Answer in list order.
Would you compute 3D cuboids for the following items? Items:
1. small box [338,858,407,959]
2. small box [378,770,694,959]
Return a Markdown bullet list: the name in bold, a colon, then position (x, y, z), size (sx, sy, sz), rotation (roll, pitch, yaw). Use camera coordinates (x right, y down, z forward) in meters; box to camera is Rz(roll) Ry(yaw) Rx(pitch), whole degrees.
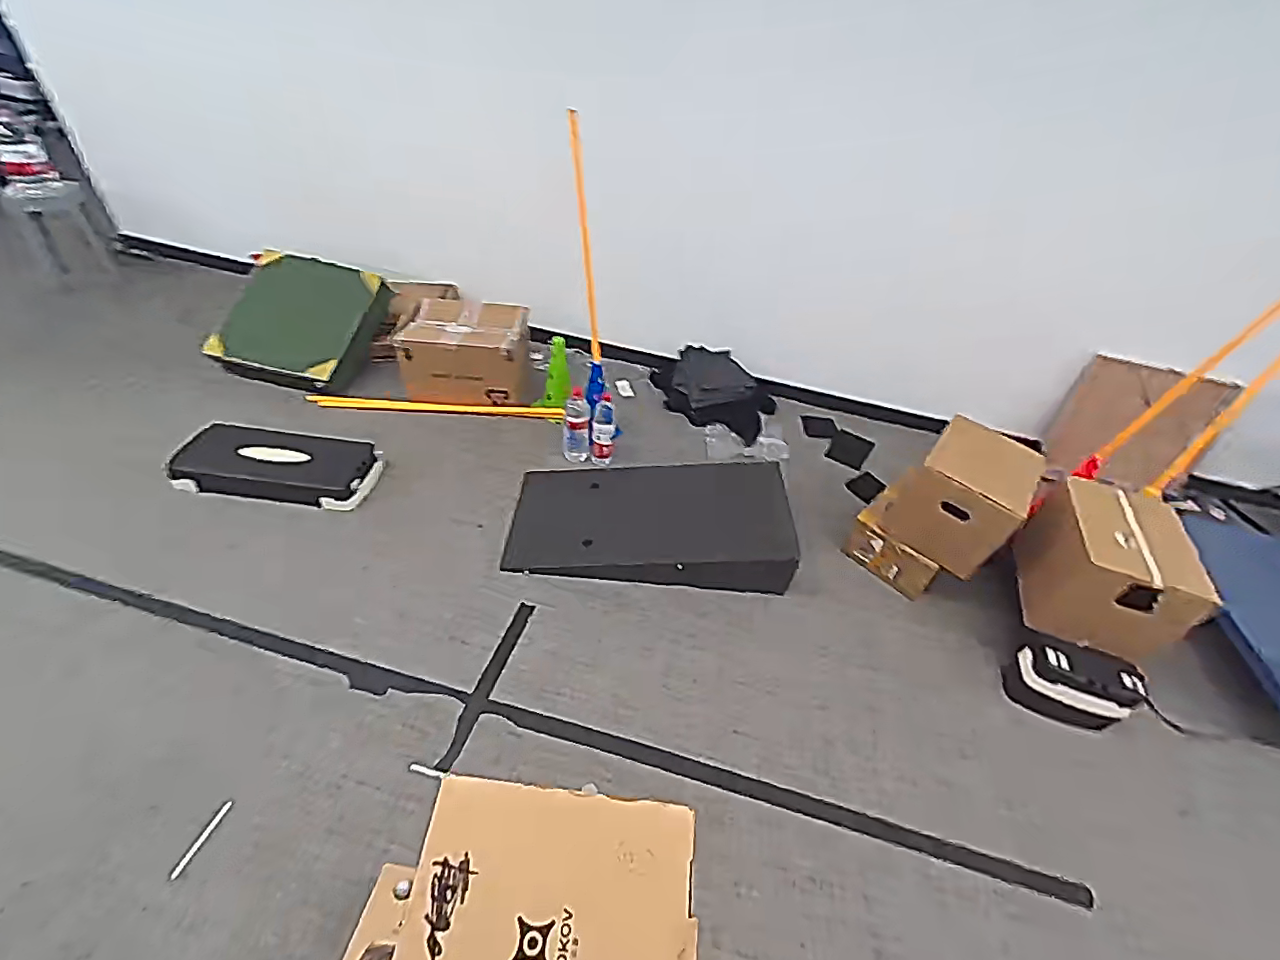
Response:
- **small box**: position (-0.453, 0.882, 1.059), size (0.168, 0.176, 0.179), rotation (12, 42, 3)
- **small box**: position (-0.071, 0.314, 0.374), size (0.179, 0.176, 0.168), rotation (11, 53, -4)
